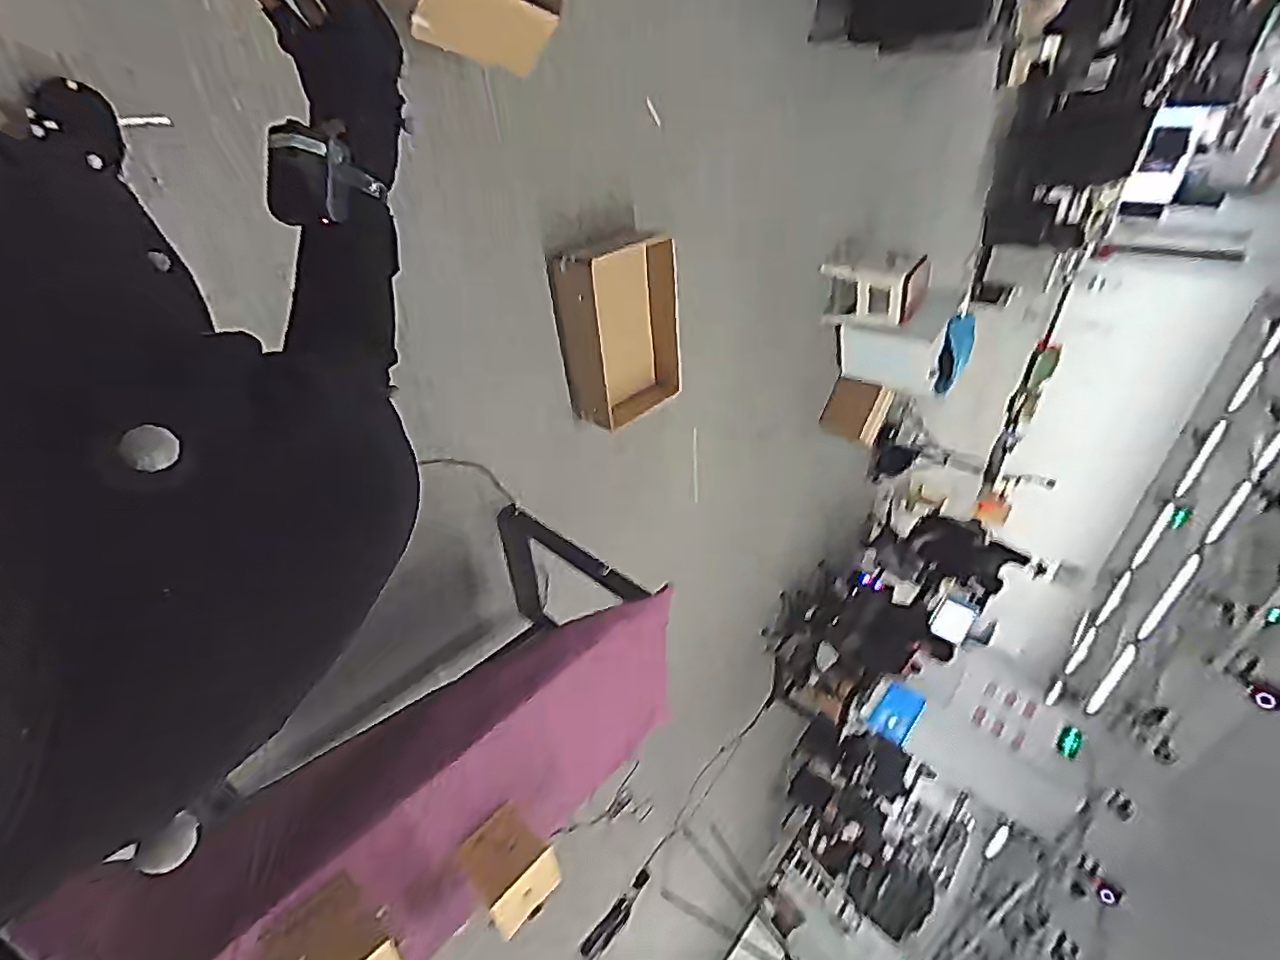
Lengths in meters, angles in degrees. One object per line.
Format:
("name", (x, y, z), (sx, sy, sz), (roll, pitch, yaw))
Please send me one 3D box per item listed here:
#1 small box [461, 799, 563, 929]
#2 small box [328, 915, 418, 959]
("small box", (-0.313, 0.926, 1.321), (0.168, 0.176, 0.179), (-33, 134, -36))
("small box", (-0.545, 1.052, 1.107), (0.168, 0.176, 0.179), (-26, 128, -40))
